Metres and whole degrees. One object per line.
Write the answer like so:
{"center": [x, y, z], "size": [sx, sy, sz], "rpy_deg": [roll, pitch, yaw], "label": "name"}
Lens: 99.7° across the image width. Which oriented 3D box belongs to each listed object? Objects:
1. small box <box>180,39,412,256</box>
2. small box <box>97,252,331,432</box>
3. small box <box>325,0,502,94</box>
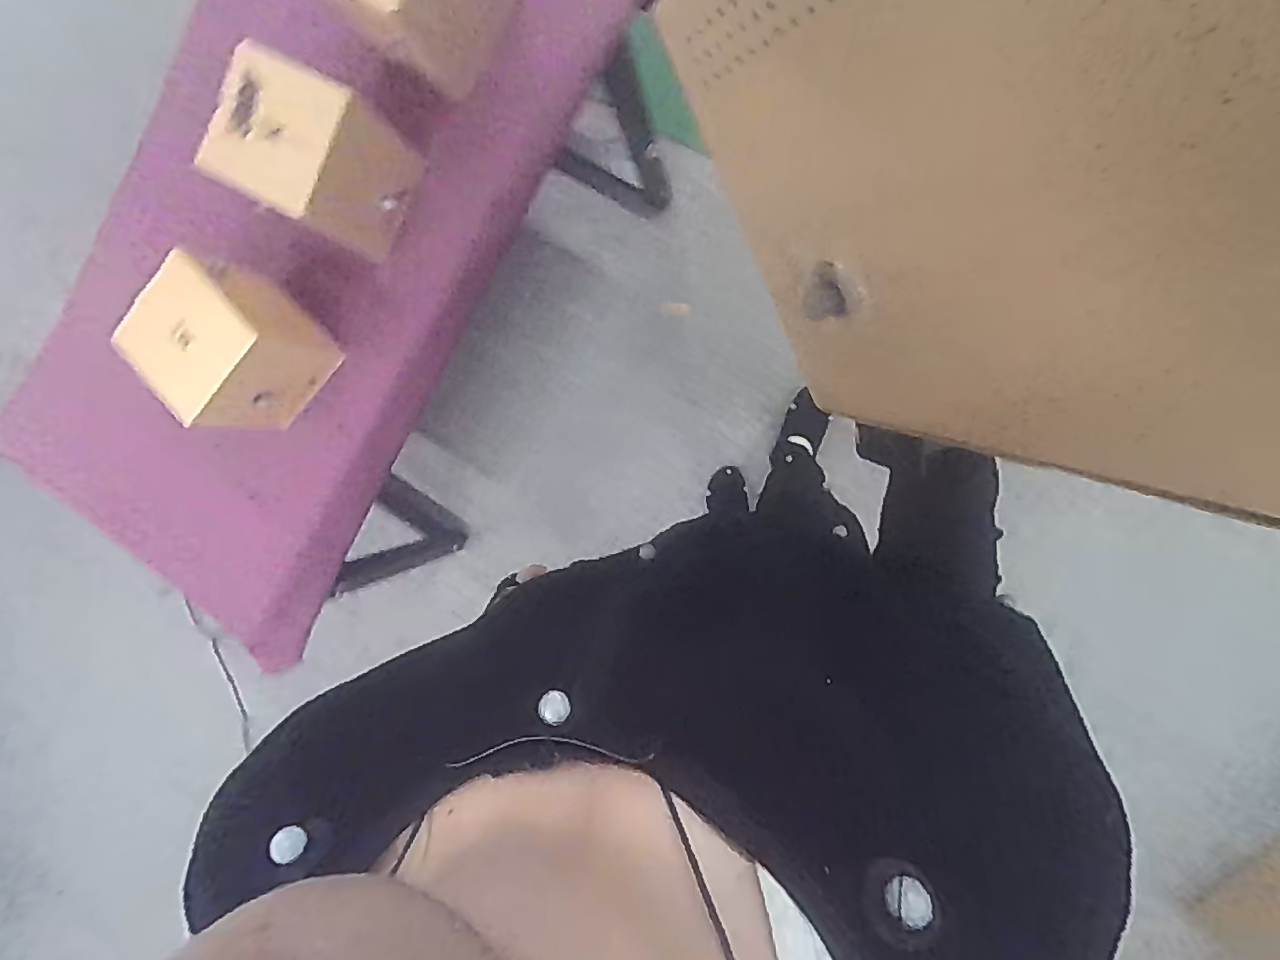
{"center": [-0.458, -0.437, 0.742], "size": [0.179, 0.176, 0.168], "rpy_deg": [28, 98, 6], "label": "small box"}
{"center": [-0.600, -0.187, 0.784], "size": [0.179, 0.176, 0.168], "rpy_deg": [45, 100, 5], "label": "small box"}
{"center": [-0.308, -0.660, 0.703], "size": [0.168, 0.176, 0.179], "rpy_deg": [35, 98, 7], "label": "small box"}
